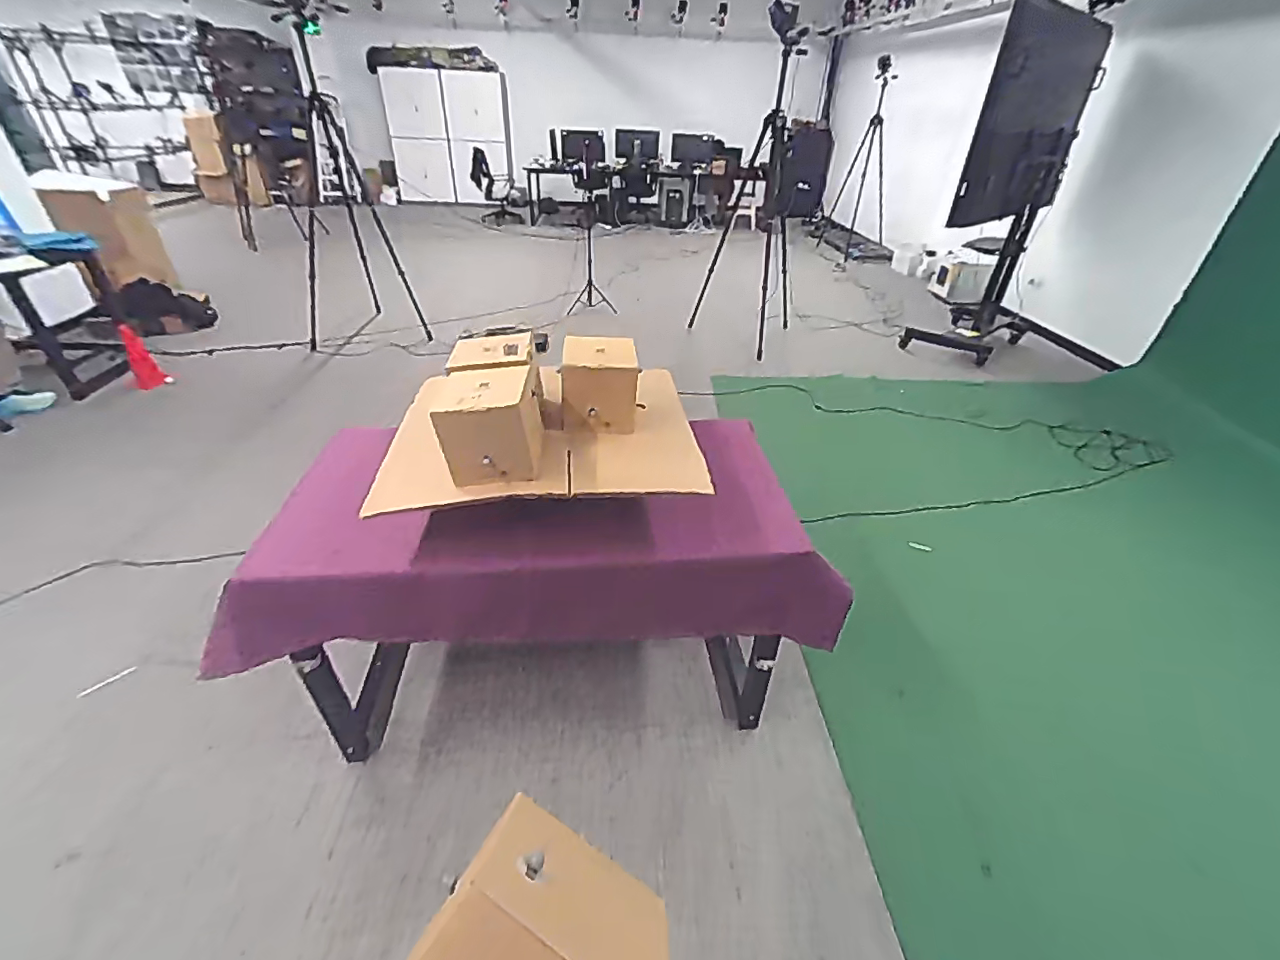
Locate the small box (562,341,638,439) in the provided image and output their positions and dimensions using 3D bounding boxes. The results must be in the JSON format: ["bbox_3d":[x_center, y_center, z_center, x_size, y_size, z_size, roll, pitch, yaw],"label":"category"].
[{"bbox_3d":[-0.098,-0.213,1.273,0.168,0.176,0.179,1,35,-6],"label":"small box"}]
